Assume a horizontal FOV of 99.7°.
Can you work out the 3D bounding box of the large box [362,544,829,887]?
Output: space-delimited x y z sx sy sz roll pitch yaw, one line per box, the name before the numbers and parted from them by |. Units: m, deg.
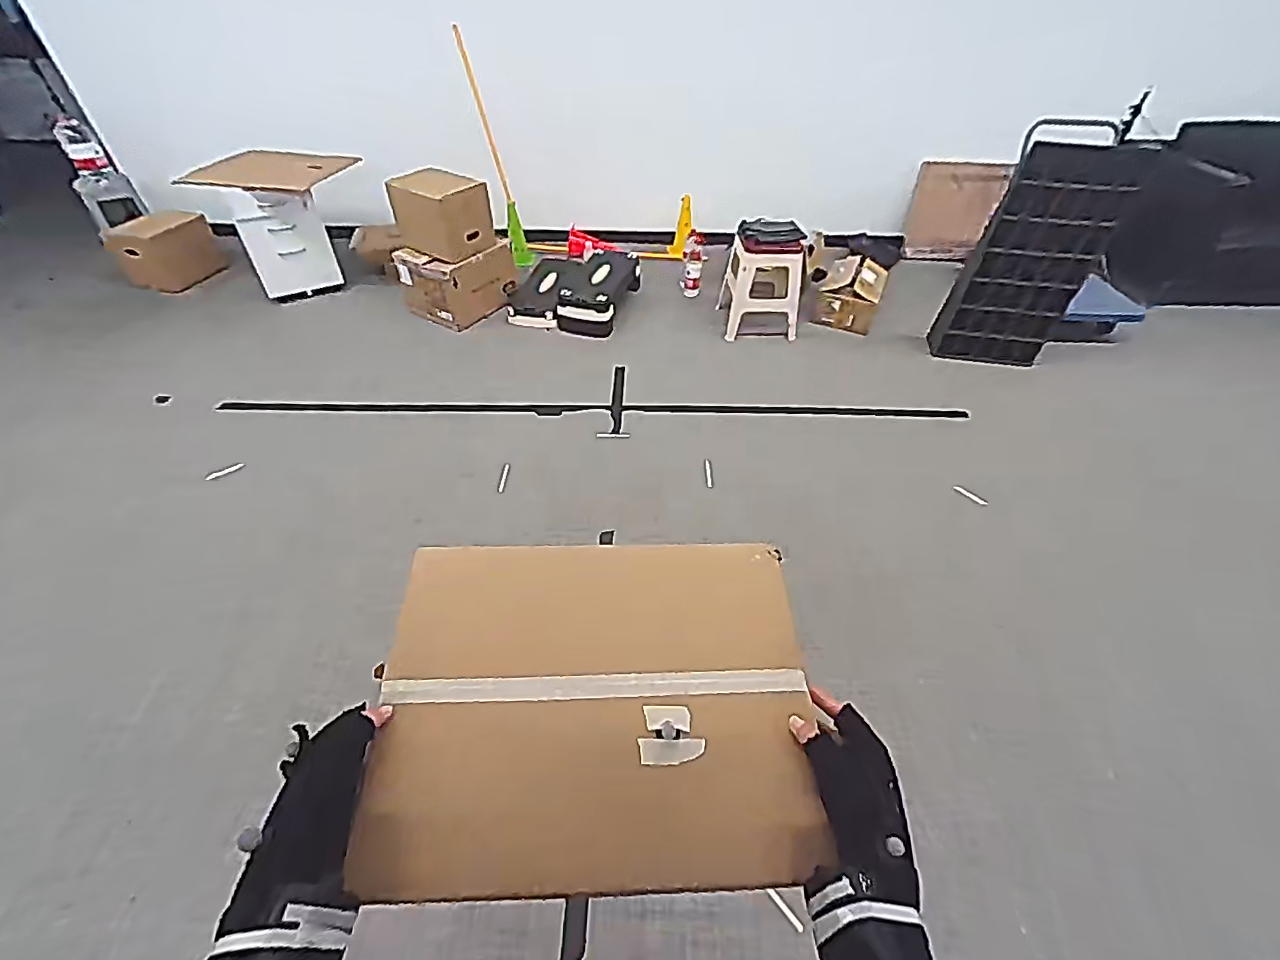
large box | -0.047 0.291 0.660 0.408 0.320 0.320 0 54 -3
